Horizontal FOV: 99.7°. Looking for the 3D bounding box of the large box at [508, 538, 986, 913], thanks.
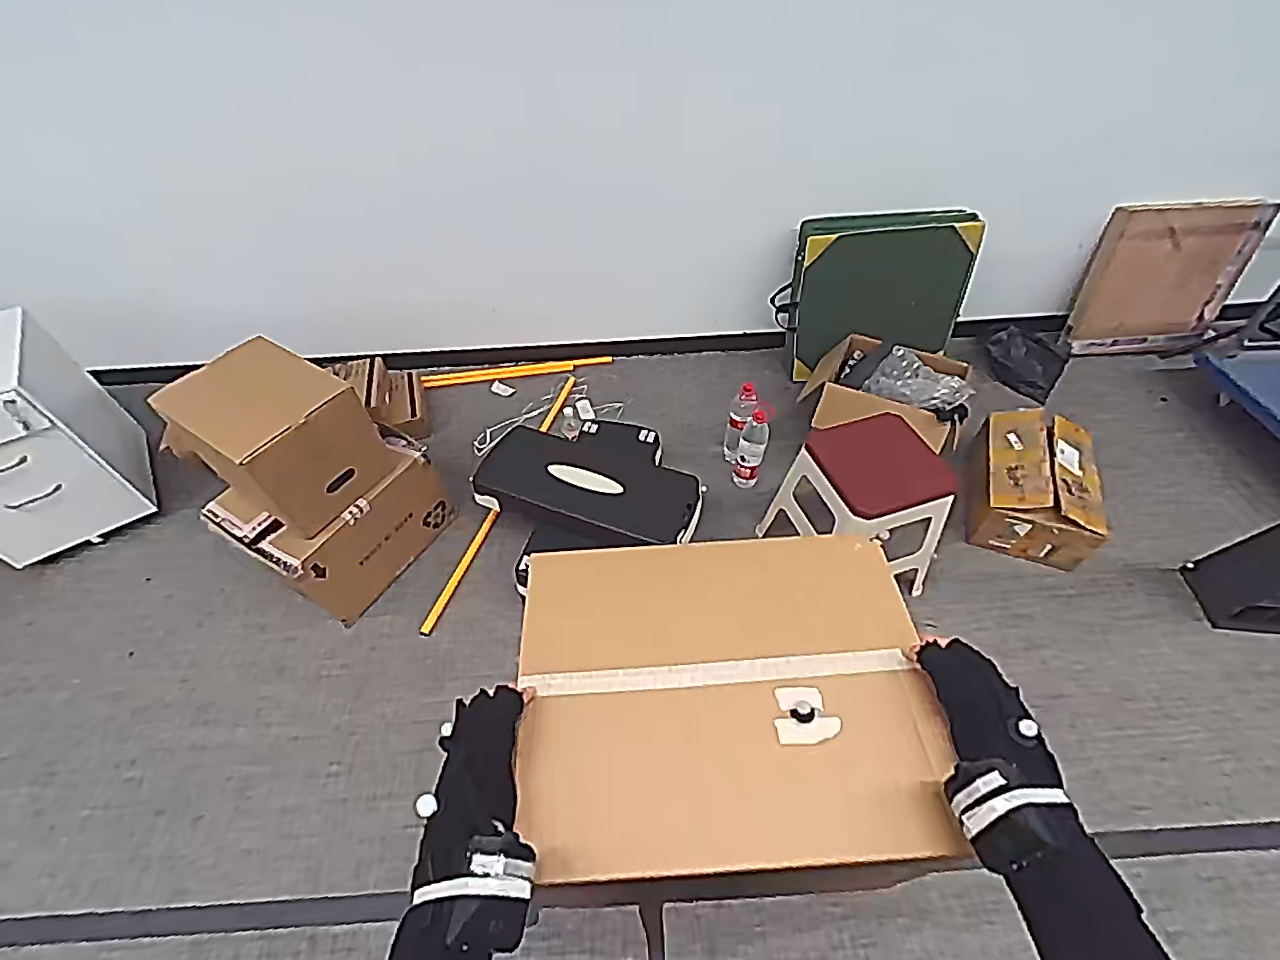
[{"bbox_3d":[0.084,0.295,0.647,0.408,0.320,0.320,-4,49,-1],"label":"large box"}]
